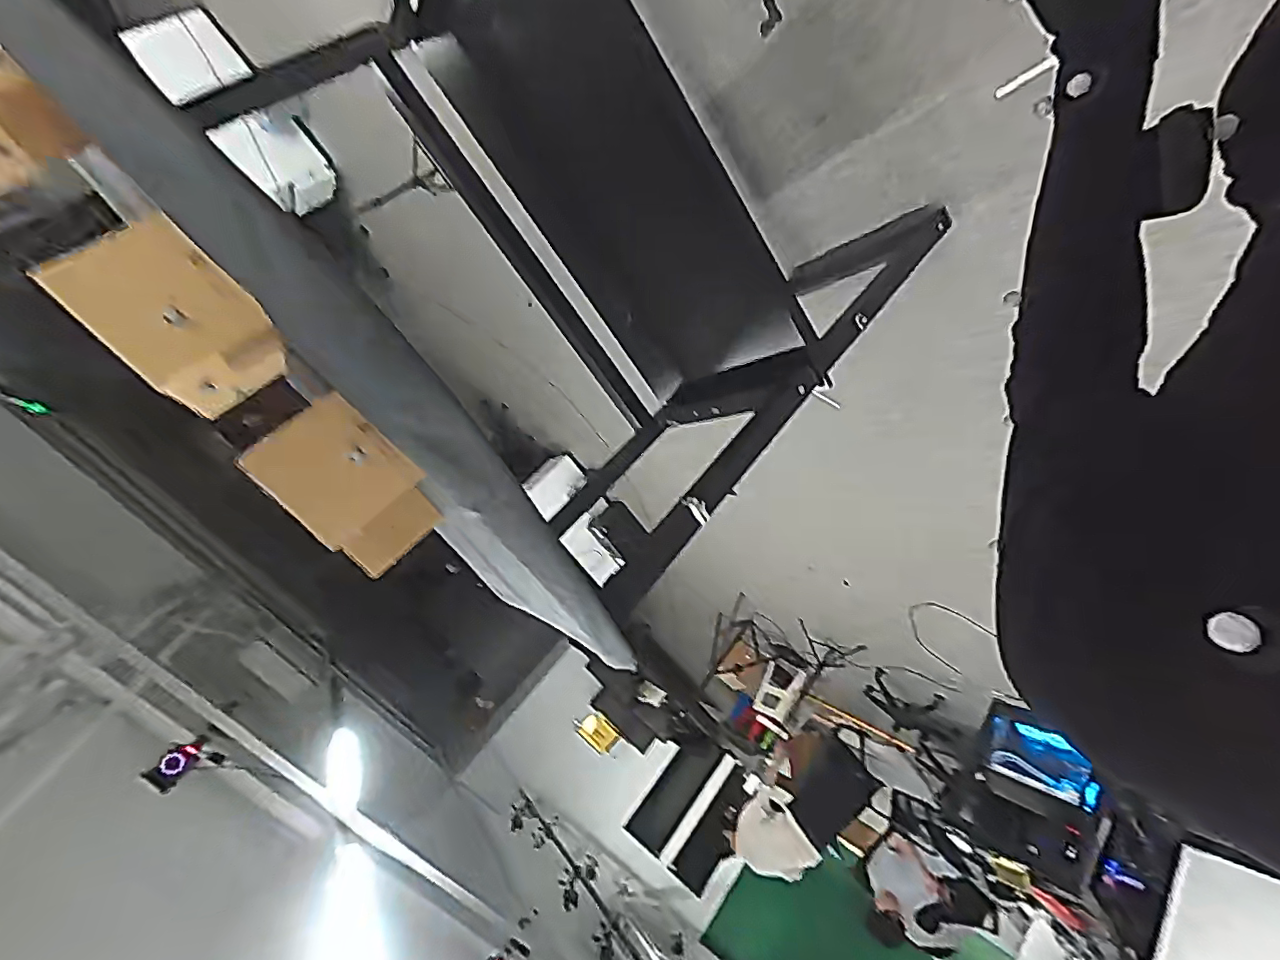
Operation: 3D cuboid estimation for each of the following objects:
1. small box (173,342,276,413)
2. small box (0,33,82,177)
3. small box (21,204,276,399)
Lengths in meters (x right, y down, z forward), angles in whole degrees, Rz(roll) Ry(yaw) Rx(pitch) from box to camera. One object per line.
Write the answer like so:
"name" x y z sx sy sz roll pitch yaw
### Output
"small box" -0.773 -0.240 0.944 0.168 0.176 0.179 52 156 -19
"small box" -0.804 -0.466 0.602 0.168 0.176 0.179 53 159 -22
"small box" -0.633 -0.233 0.731 0.168 0.176 0.179 52 157 -19
